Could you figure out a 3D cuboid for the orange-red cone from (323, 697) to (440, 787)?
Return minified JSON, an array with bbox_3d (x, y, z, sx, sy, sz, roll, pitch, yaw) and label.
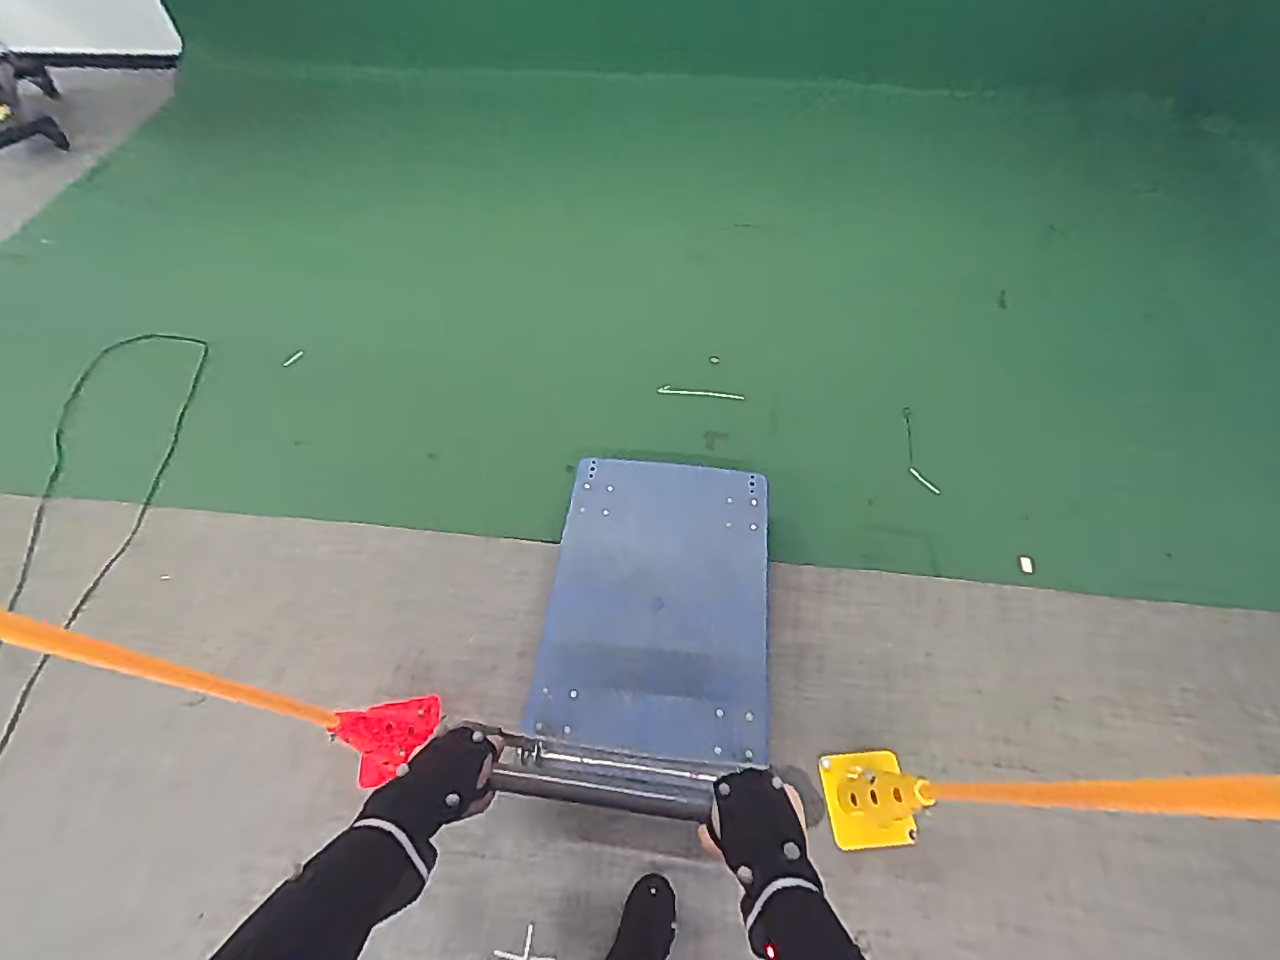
[{"bbox_3d":[-0.630,0.585,1.257,0.199,0.360,0.198,-8,58,-2],"label":"orange-red cone"}]
